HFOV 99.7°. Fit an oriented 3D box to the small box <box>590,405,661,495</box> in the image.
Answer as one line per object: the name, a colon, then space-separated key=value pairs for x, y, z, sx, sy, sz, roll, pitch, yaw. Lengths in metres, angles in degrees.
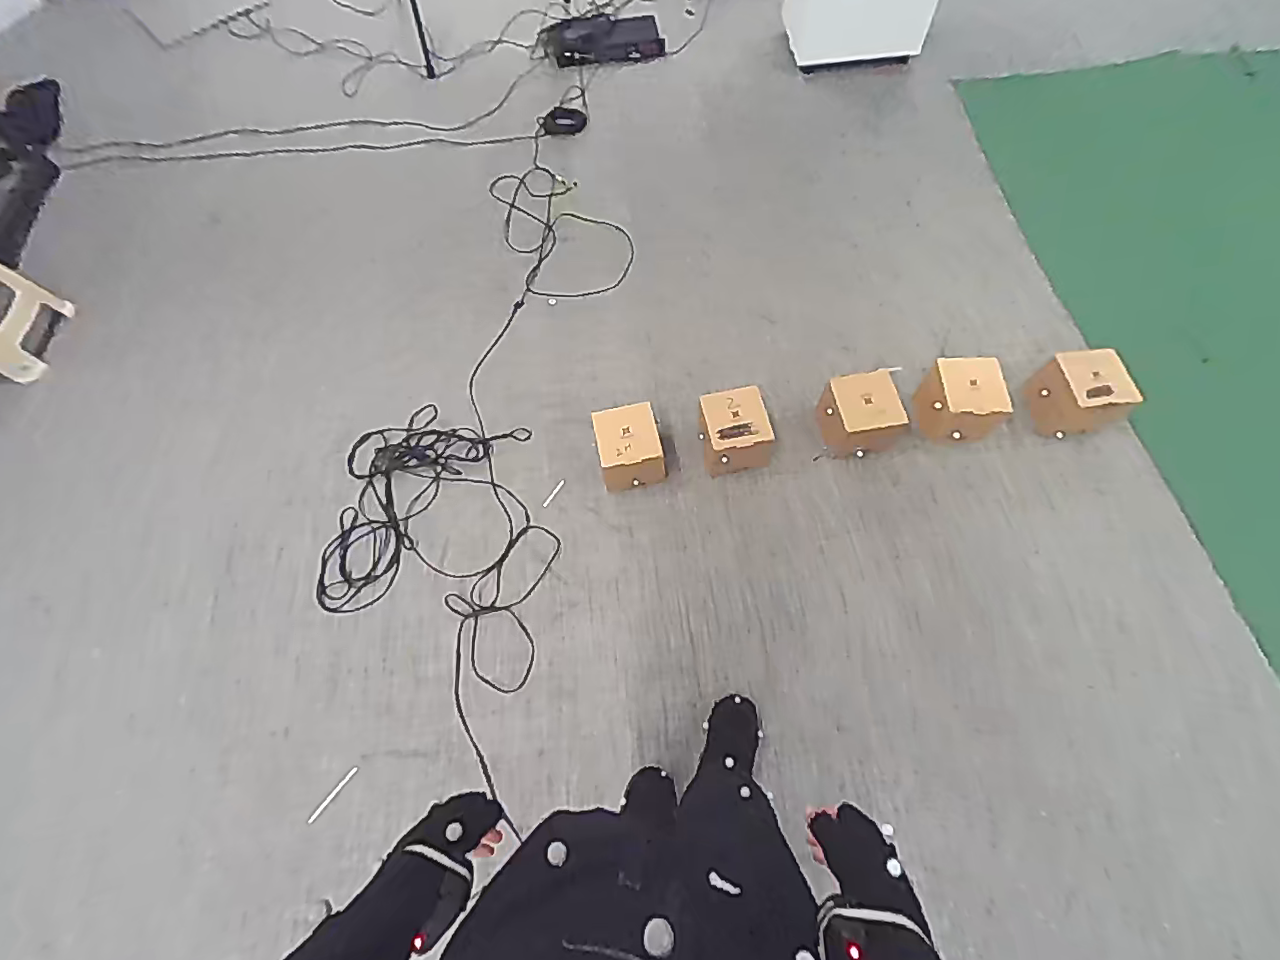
small box: x=-0.038 y=-0.080 z=1.509 sx=0.168 sy=0.176 sz=0.179 roll=-12 pitch=65 yaw=-2

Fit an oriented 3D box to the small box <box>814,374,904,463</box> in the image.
small box: x=0.603 y=-0.169 z=1.519 sx=0.168 sy=0.176 sz=0.179 roll=-10 pitch=67 yaw=0

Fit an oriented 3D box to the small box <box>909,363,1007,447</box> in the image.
small box: x=0.886 y=-0.209 z=1.525 sx=0.168 sy=0.176 sz=0.179 roll=0 pitch=66 yaw=2

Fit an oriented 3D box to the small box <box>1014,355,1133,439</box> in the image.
small box: x=1.204 y=-0.226 z=1.517 sx=0.168 sy=0.176 sz=0.179 roll=-5 pitch=64 yaw=0
